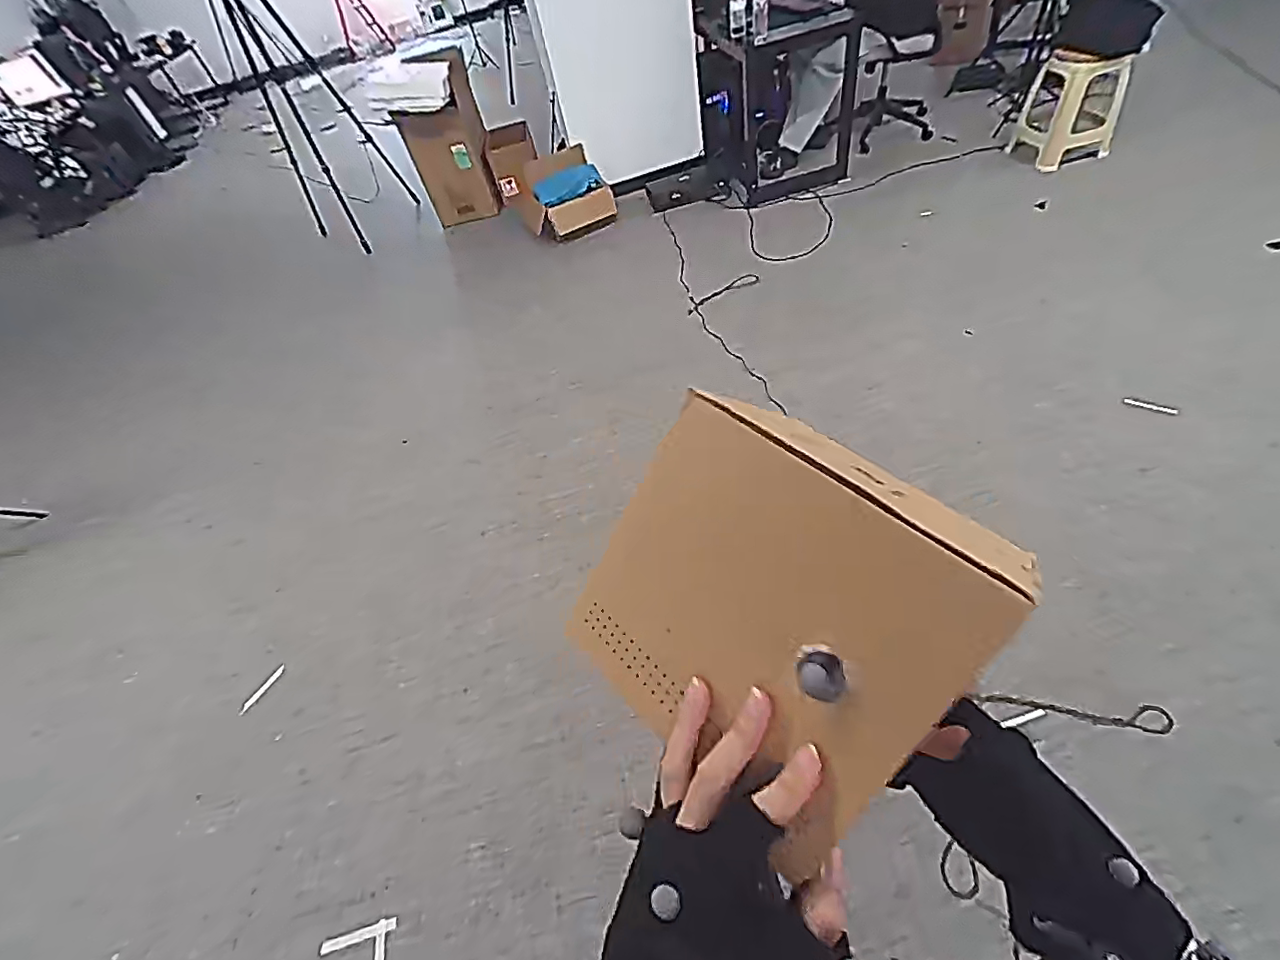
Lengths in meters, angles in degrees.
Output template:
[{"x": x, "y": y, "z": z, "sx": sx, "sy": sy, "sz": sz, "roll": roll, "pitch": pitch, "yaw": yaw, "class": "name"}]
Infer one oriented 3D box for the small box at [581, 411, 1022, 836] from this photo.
[{"x": 0.097, "y": 0.078, "z": 0.341, "sx": 0.179, "sy": 0.168, "sz": 0.176, "roll": 39, "pitch": 110, "yaw": 30, "class": "small box"}]
